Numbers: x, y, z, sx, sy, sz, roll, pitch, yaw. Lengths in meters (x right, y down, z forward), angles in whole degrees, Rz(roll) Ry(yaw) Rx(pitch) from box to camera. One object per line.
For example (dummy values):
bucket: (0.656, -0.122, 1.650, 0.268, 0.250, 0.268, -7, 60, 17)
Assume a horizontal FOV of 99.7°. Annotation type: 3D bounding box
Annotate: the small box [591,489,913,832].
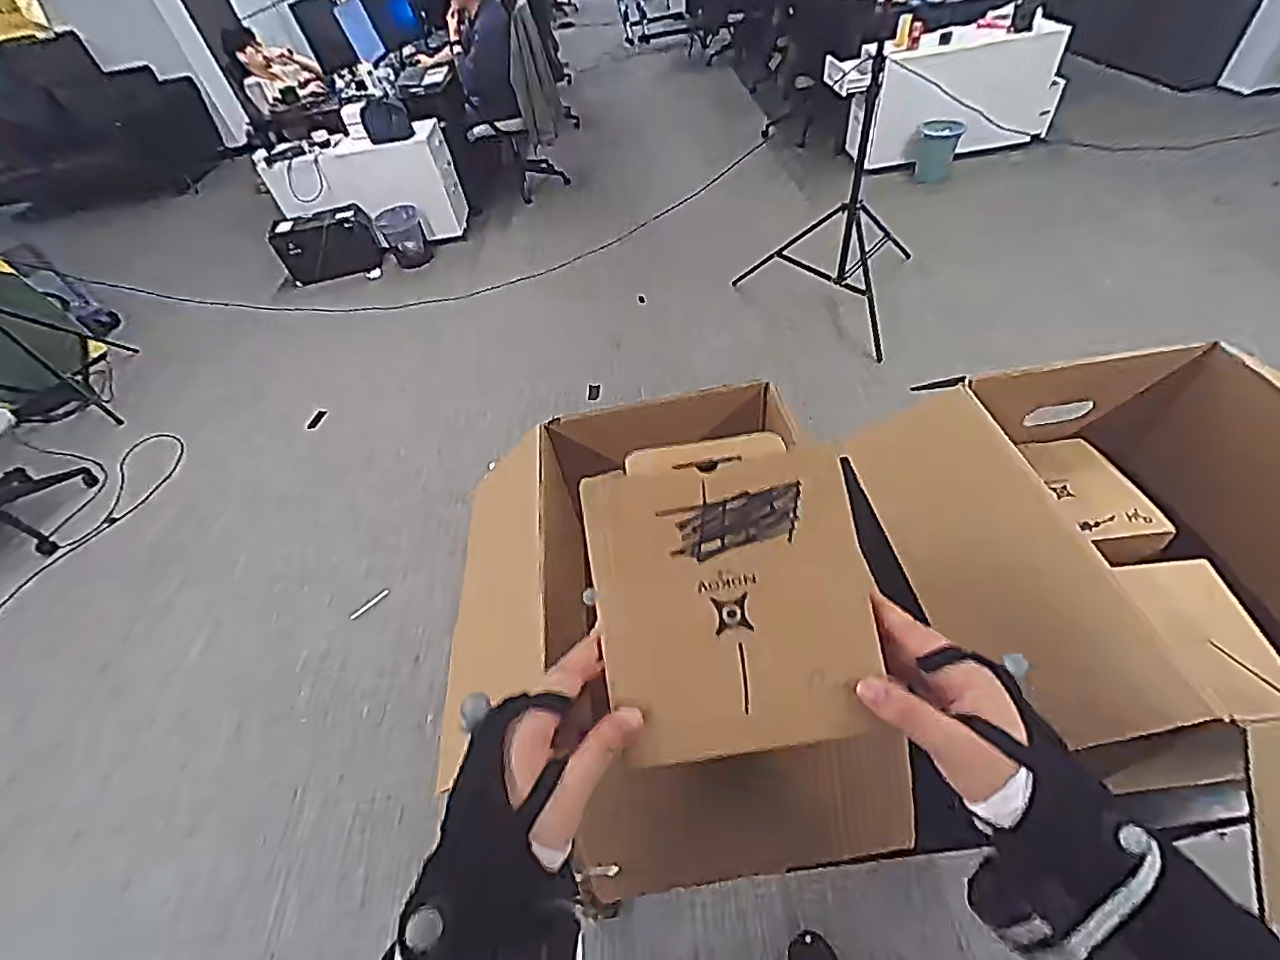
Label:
small box: (0.063, 0.115, 0.394, 0.168, 0.176, 0.179, -9, 81, 1)
